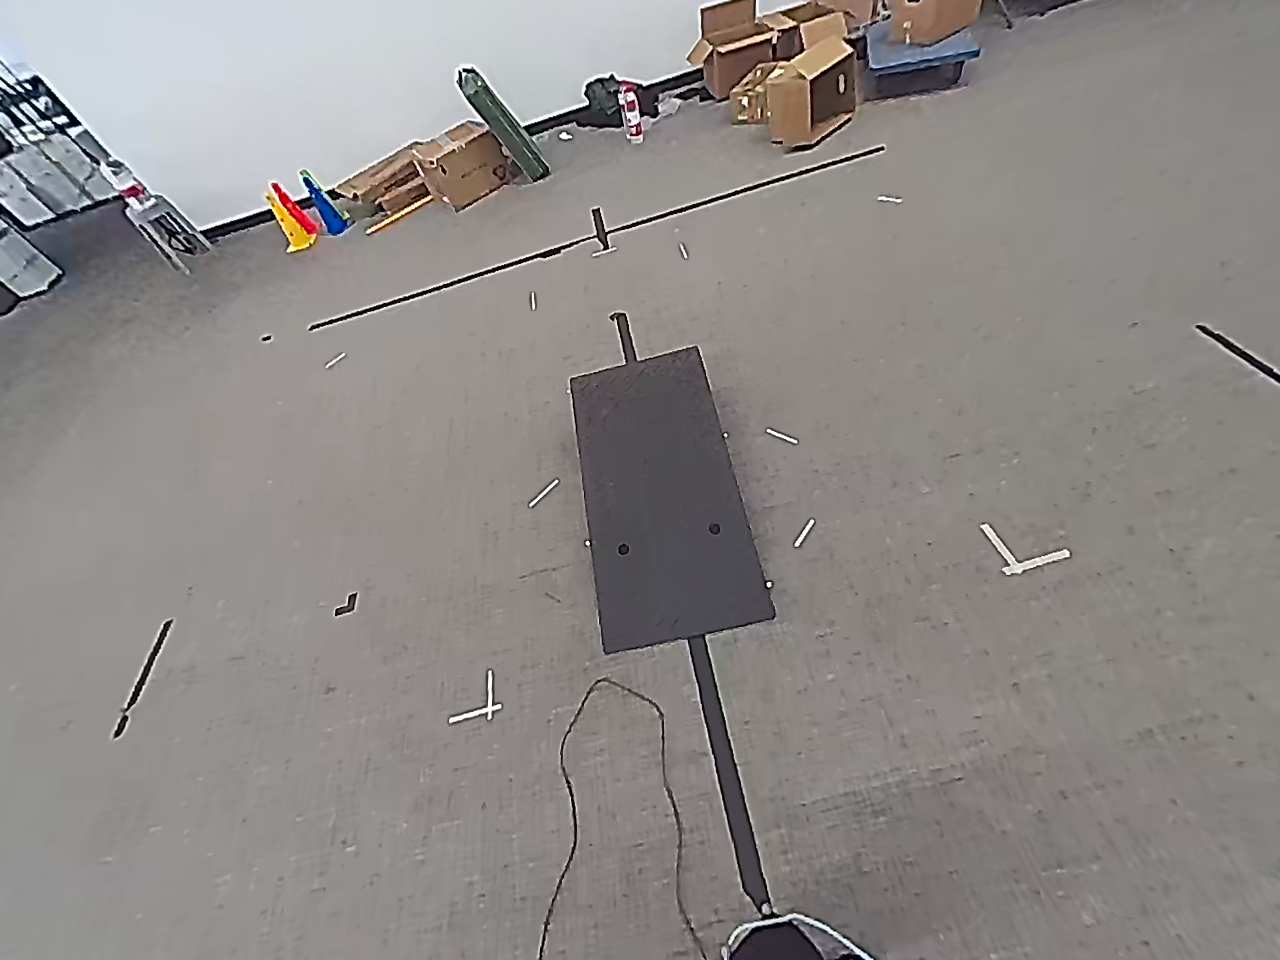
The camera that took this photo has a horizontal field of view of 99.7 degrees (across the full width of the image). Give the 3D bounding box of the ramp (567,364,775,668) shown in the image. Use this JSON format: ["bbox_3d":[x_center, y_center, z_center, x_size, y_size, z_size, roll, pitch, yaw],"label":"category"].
[{"bbox_3d":[0.053,0.054,1.760,0.509,0.206,0.991,-16,49,3],"label":"ramp"}]
